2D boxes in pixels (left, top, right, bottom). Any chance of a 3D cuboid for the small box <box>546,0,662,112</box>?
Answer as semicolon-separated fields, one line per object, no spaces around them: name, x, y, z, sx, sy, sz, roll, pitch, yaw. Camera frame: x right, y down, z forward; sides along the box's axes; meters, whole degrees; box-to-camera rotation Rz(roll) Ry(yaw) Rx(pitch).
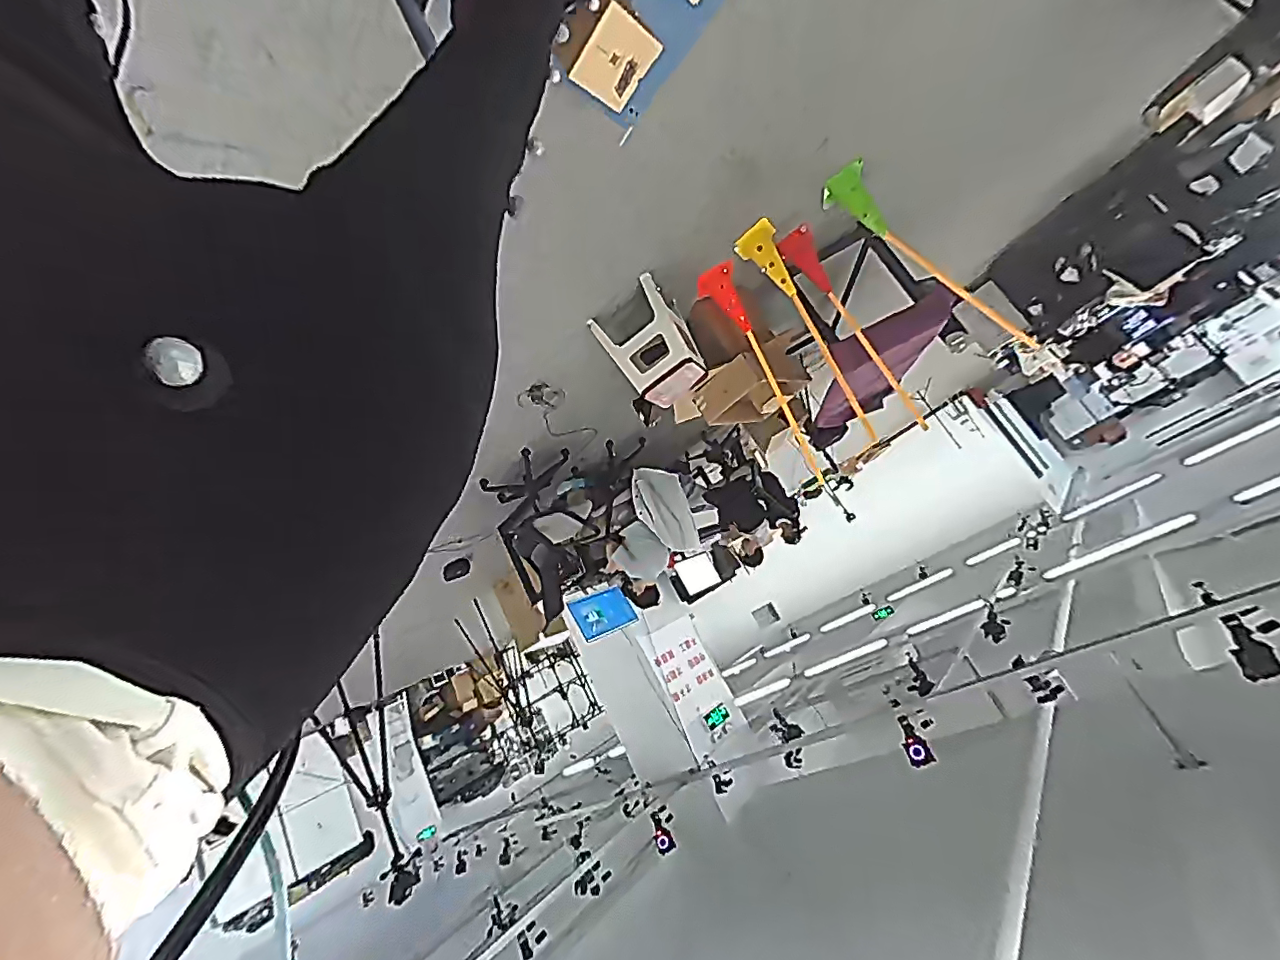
small box;-0.090;-0.988;1.211;0.168;0.176;0.179;-41;159;33

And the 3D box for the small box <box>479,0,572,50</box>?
small box;-0.235;-0.978;1.010;0.168;0.176;0.179;-39;159;31
